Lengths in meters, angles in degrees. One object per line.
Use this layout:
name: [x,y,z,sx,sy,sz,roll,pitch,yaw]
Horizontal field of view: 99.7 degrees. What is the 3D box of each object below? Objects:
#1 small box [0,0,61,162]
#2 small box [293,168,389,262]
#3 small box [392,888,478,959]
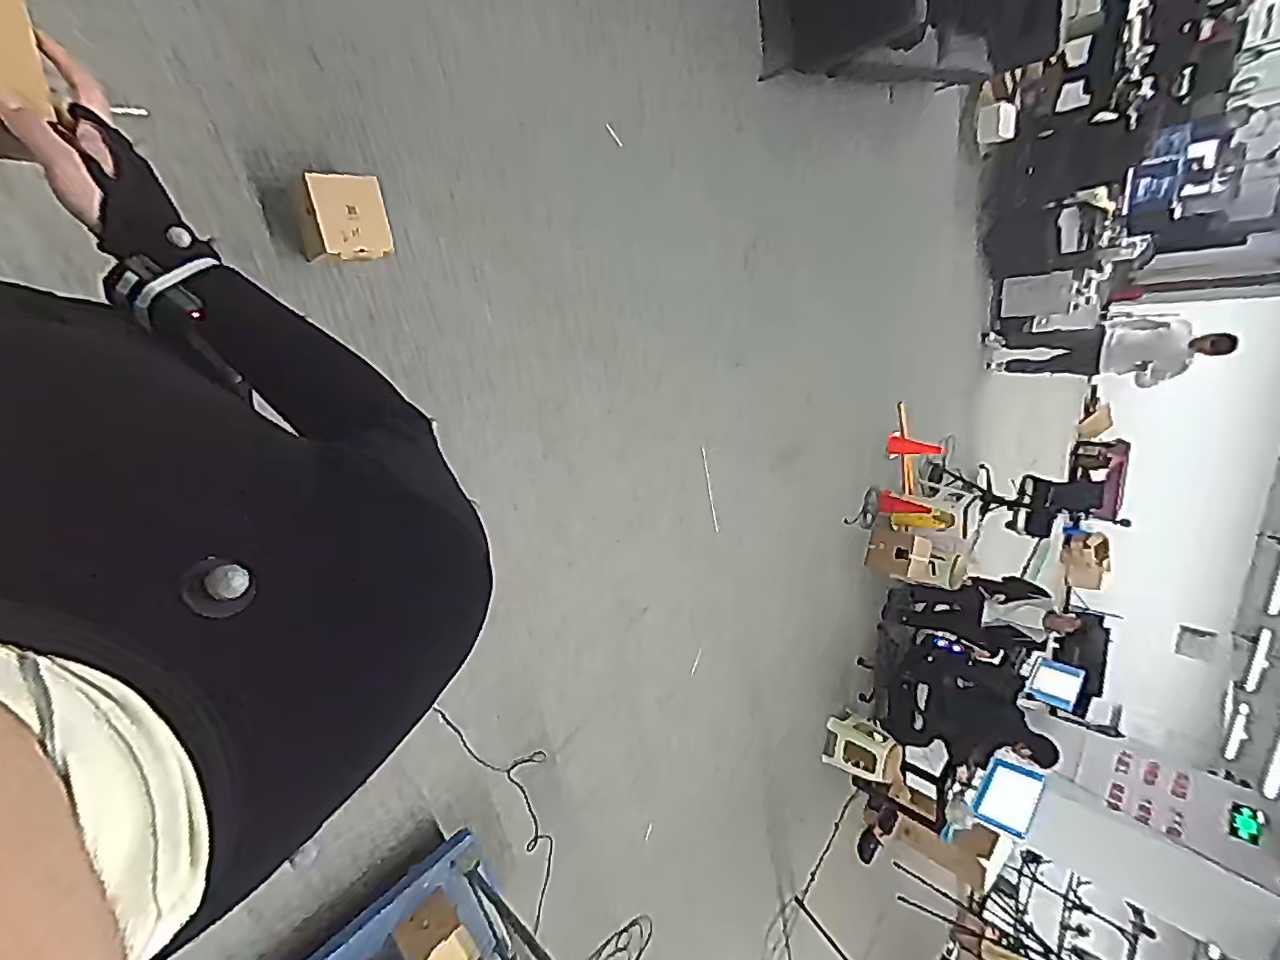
small box: [-0.575,-0.353,0.398,0.179,0.176,0.168,-17,114,-43]
small box: [-0.755,-0.657,1.362,0.168,0.176,0.179,-14,110,-39]
small box: [-0.636,1.420,1.672,0.168,0.176,0.179,-31,119,-36]
